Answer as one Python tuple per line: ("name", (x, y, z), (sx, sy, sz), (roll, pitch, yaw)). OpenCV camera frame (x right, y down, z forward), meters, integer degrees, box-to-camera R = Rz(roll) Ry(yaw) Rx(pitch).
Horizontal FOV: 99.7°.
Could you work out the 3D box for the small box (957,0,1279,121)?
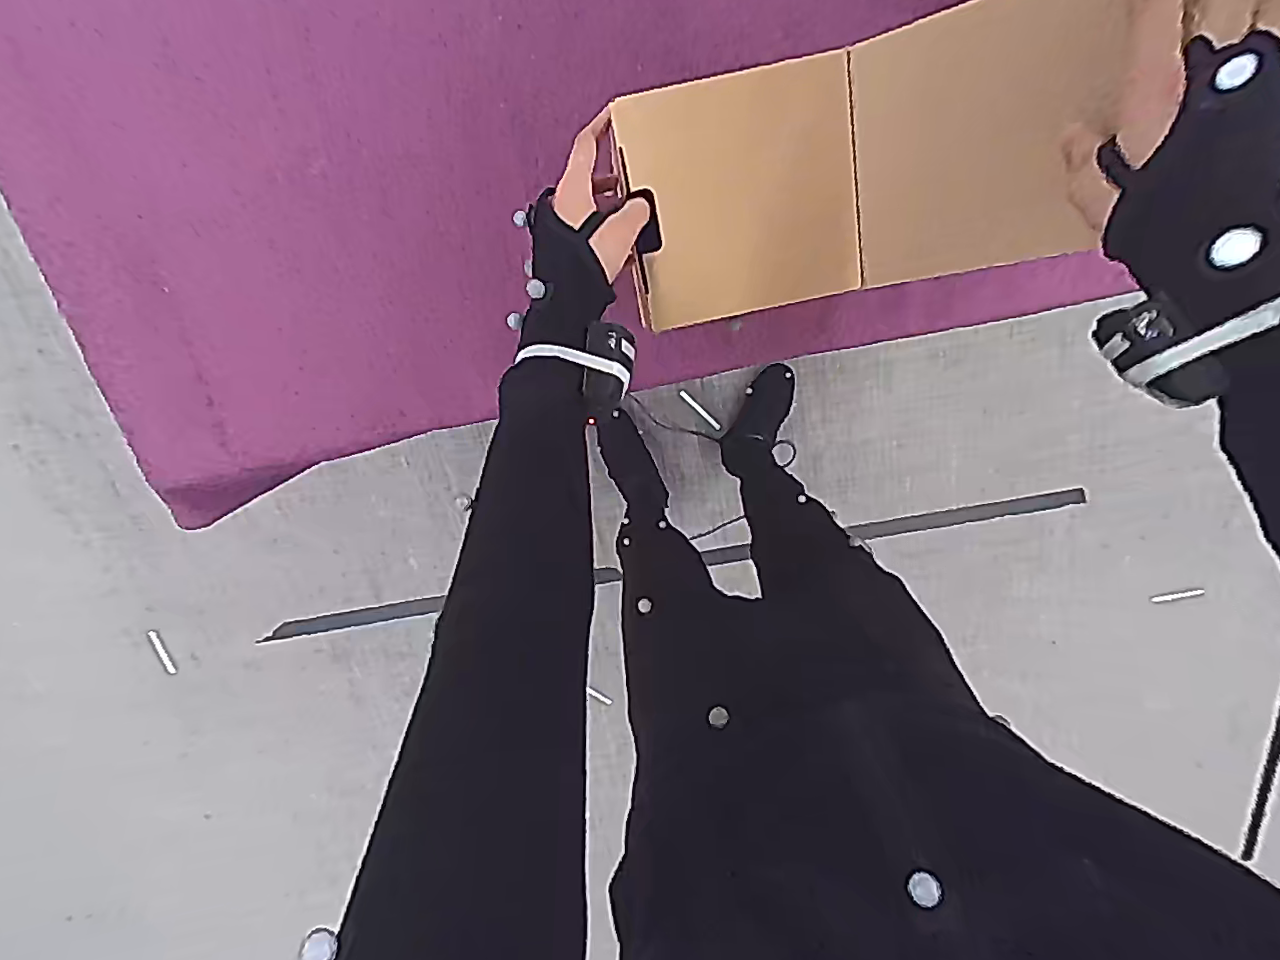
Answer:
("small box", (0.408, -0.419, 0.433), (0.179, 0.176, 0.168), (14, 107, -7))
